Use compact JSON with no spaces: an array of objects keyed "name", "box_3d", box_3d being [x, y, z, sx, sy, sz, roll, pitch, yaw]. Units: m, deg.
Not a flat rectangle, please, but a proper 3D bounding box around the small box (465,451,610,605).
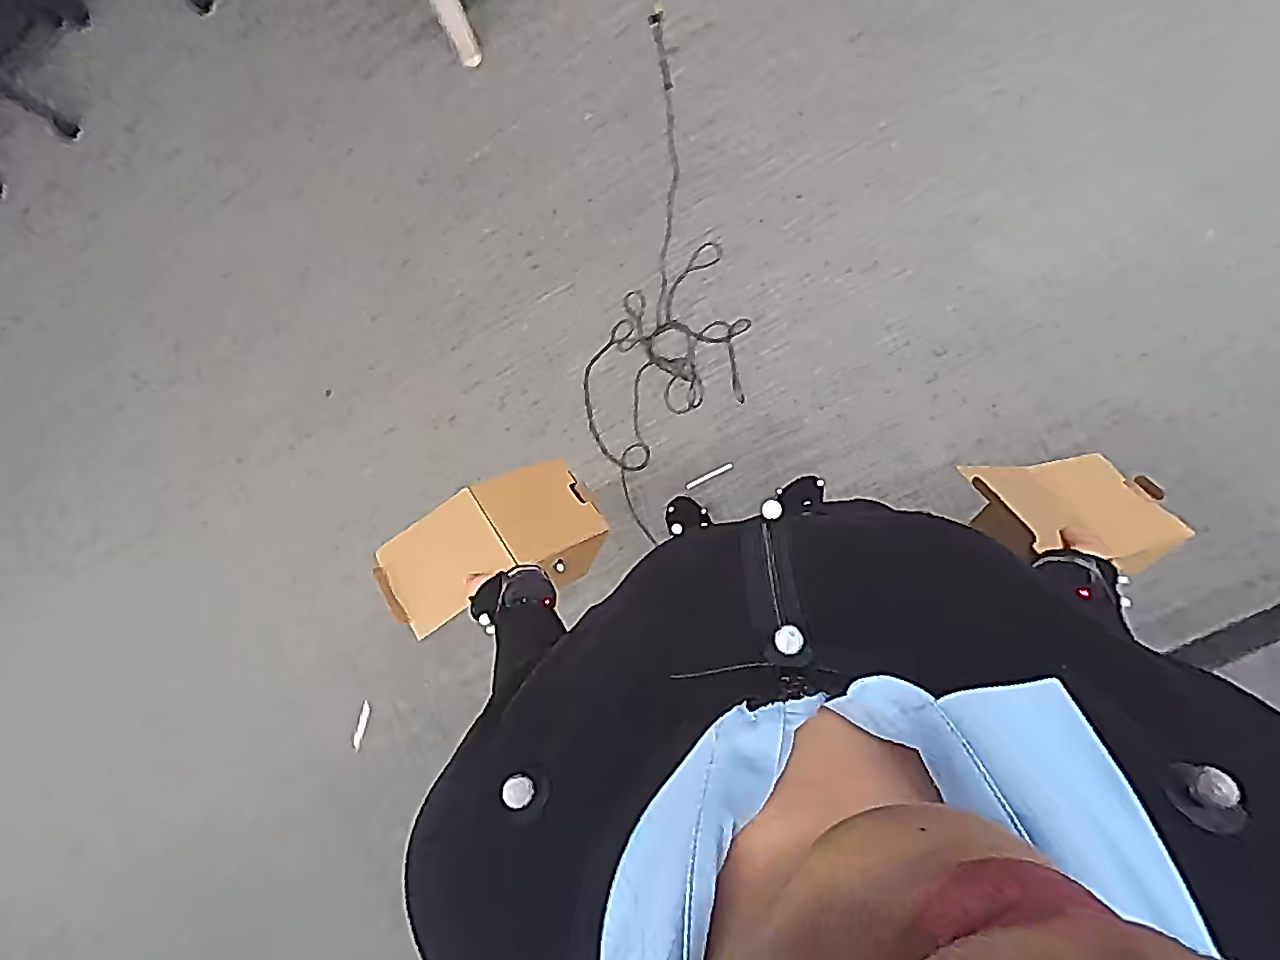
[{"name":"small box","box_3d":[-0.183,0.083,0.915,0.168,0.179,0.176,52,141,20]}]
